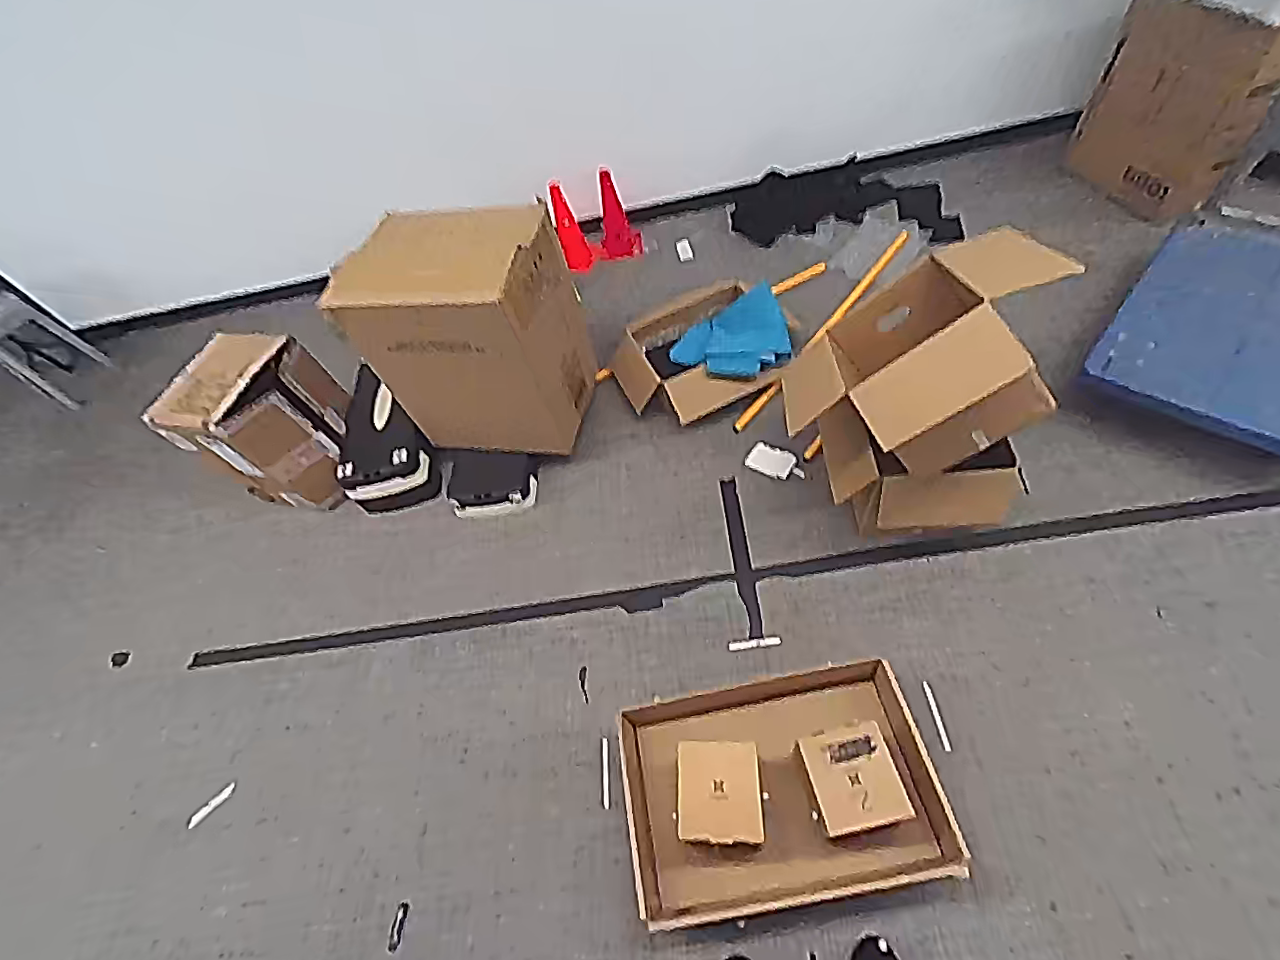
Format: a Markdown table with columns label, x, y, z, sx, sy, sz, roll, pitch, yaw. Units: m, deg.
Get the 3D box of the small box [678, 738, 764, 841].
| label | x | y | z | sx | sy | sz | roll | pitch | yaw |
| --- | --- | --- | --- | --- | --- | --- | --- | --- | --- |
| small box | 0.169 | 0.659 | 1.149 | 0.168 | 0.176 | 0.179 | -4 | 56 | 8 |
